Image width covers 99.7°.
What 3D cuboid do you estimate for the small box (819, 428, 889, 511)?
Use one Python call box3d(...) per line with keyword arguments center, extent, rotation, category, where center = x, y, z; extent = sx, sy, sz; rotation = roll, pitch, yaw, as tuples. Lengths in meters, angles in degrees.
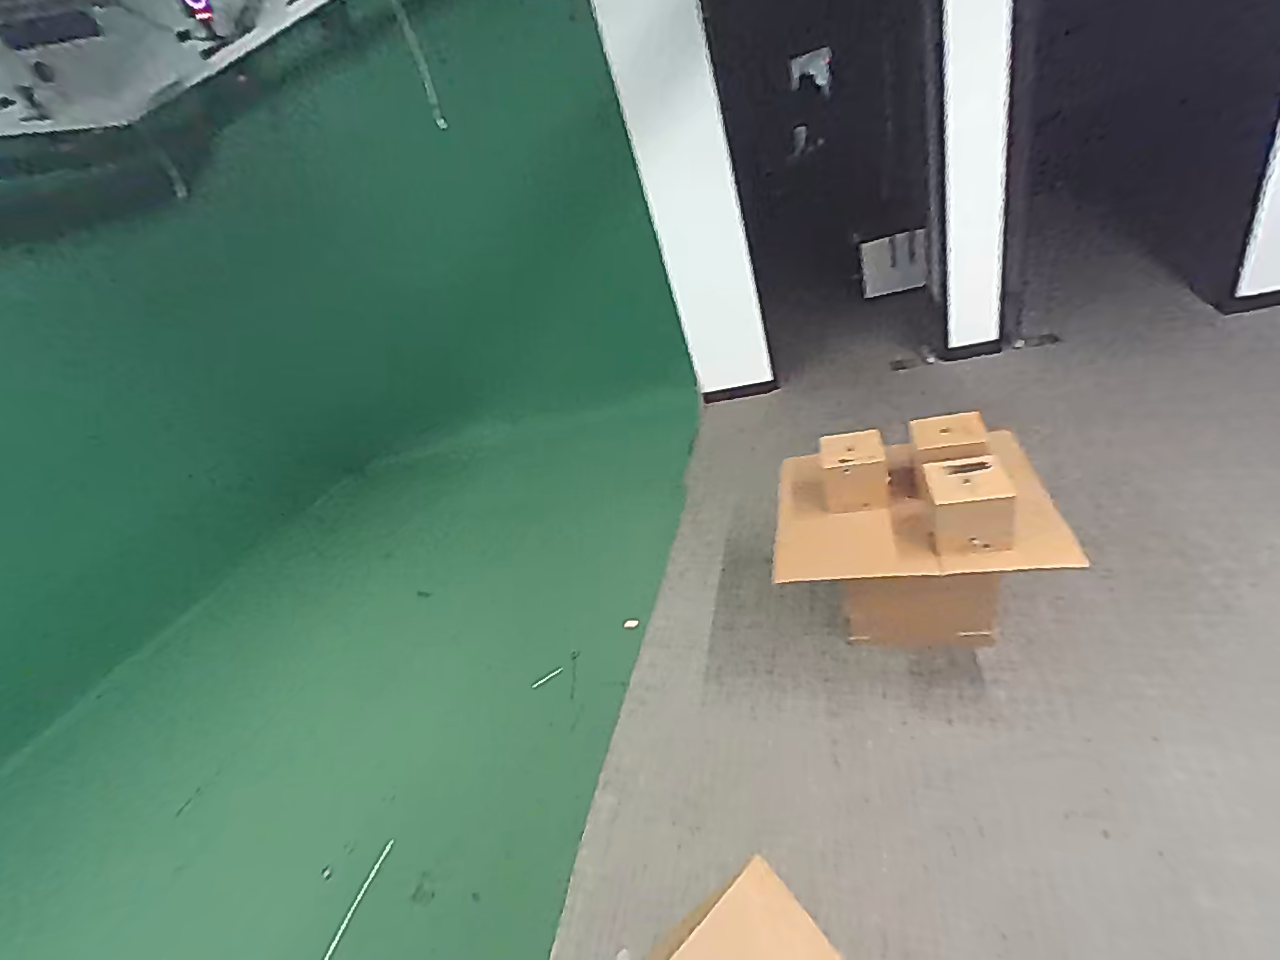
box3d(center=(0.631, -0.030, 1.599), extent=(0.168, 0.176, 0.179), rotation=(-10, 31, 21), category="small box")
